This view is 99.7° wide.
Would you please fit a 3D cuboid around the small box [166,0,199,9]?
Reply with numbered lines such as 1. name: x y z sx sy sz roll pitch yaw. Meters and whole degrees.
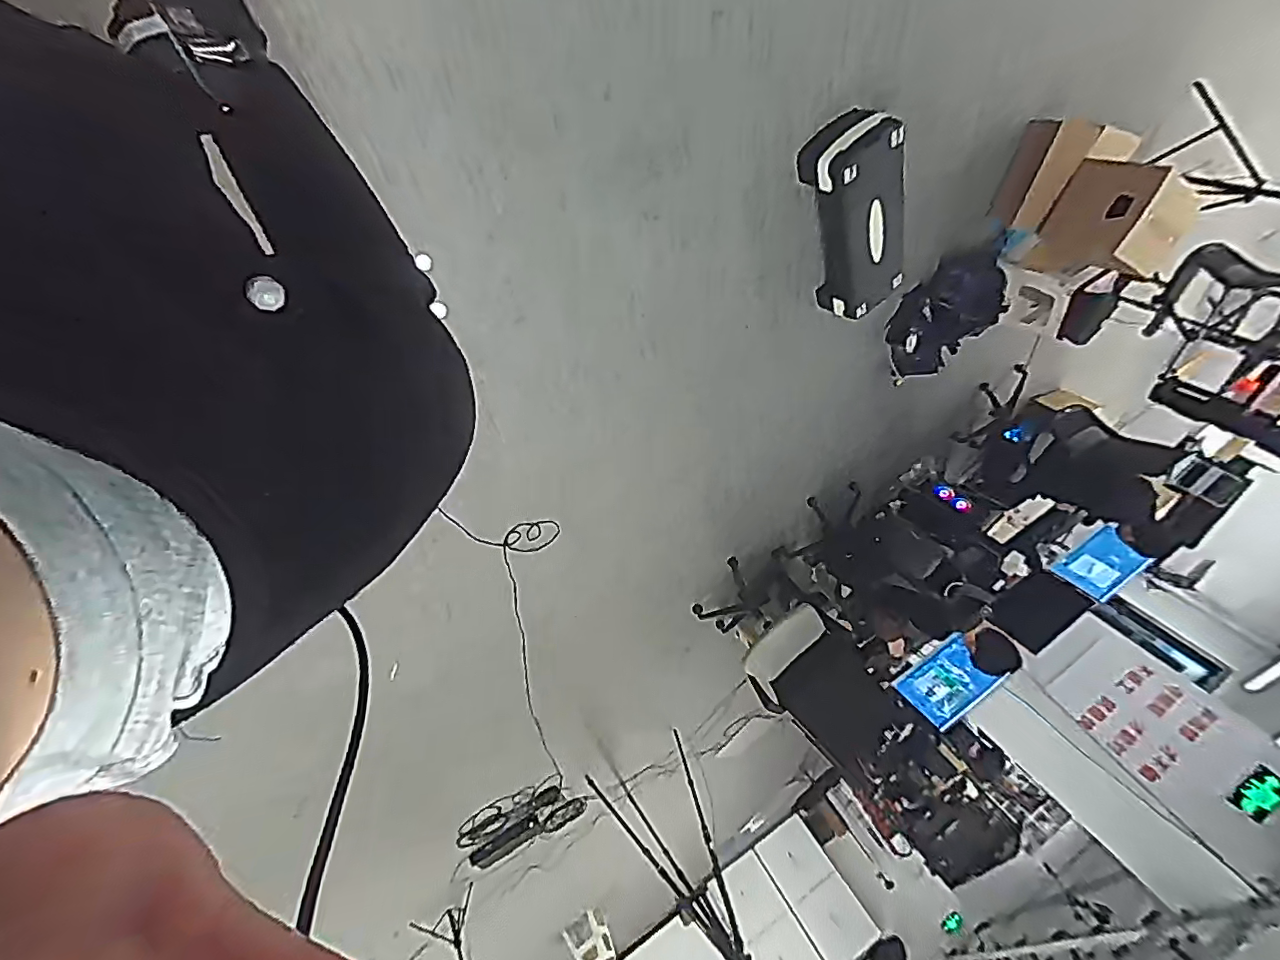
1. small box: -0.749 -0.894 0.864 0.179 0.176 0.168 -40 140 -4
